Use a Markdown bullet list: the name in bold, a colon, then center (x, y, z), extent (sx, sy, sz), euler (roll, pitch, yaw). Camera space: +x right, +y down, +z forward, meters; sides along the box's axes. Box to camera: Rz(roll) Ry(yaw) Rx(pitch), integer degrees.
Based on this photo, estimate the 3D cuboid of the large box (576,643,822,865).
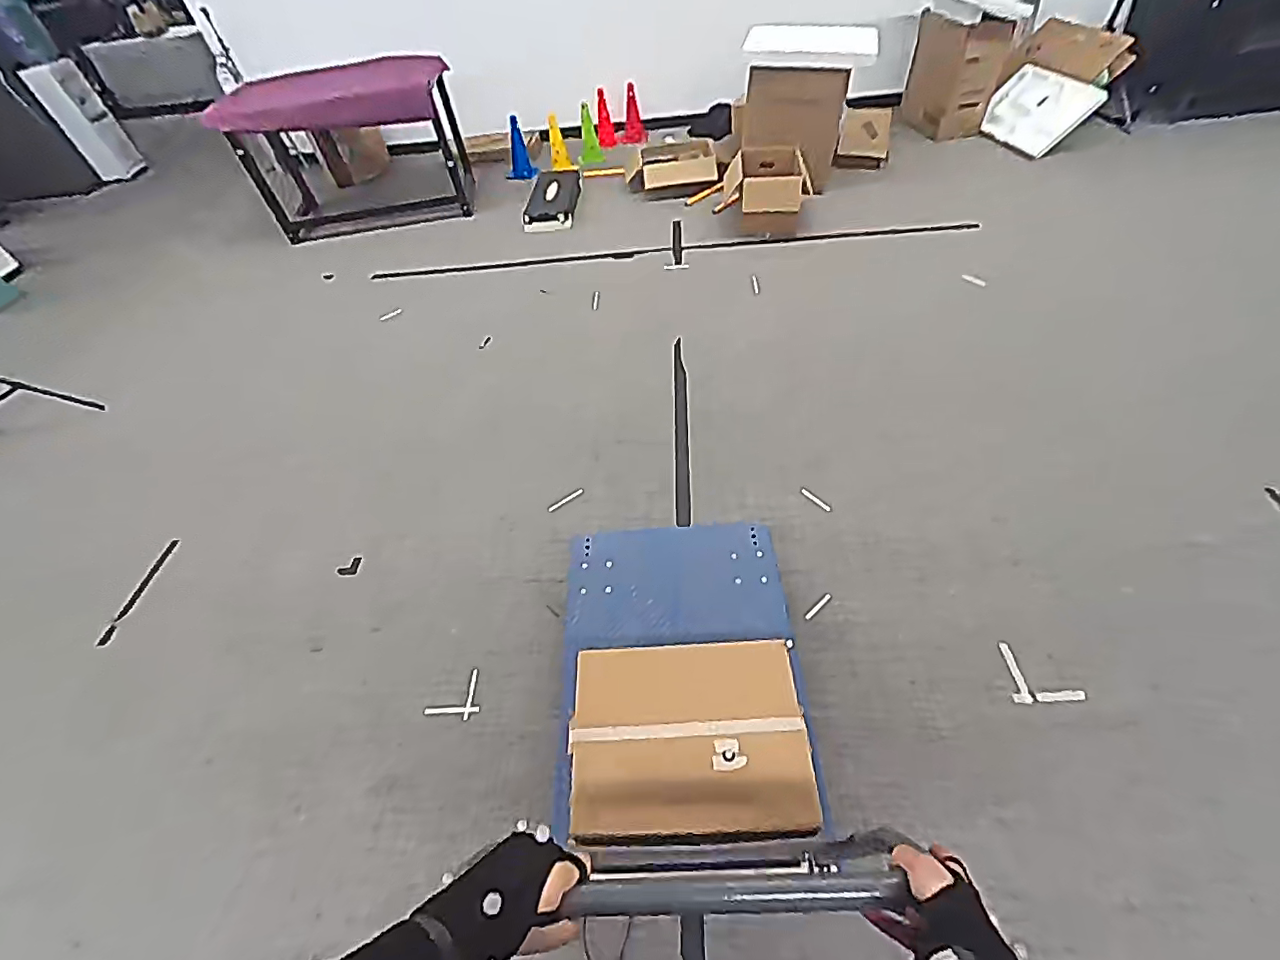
- **large box**: center (0.097, 0.546, 1.068), extent (0.408, 0.320, 0.320), euler (-4, 50, 2)
